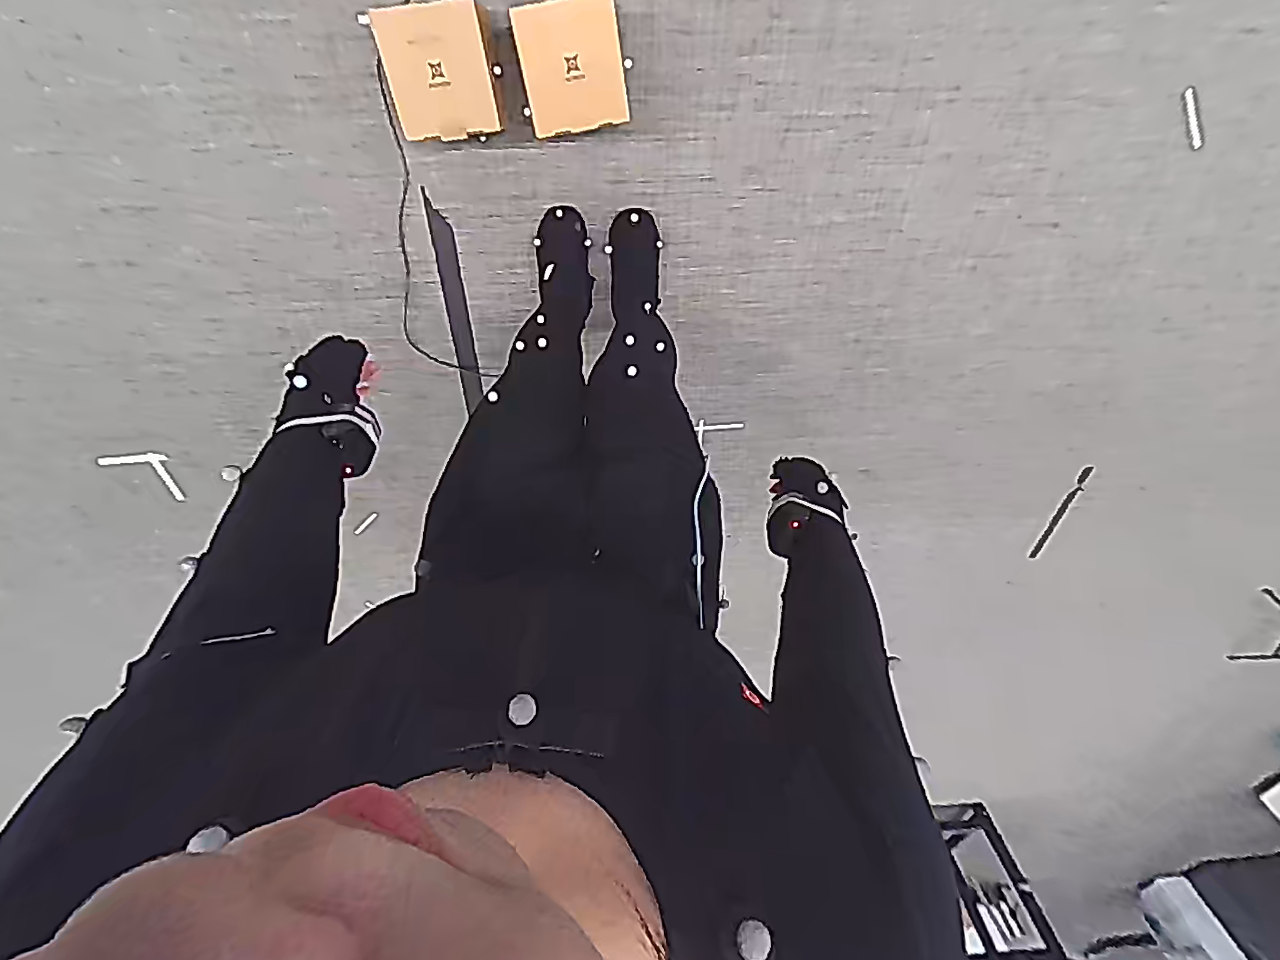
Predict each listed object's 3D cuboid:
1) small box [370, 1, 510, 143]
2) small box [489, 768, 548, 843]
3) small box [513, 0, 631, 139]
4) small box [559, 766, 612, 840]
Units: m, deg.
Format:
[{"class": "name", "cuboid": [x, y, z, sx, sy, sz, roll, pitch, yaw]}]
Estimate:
[{"class": "small box", "cuboid": [-0.330, -0.703, 0.939, 0.168, 0.176, 0.179, -7, 126, -1]}, {"class": "small box", "cuboid": [-0.406, 1.104, 1.836, 0.168, 0.176, 0.179, -1, 126, -4]}, {"class": "small box", "cuboid": [-0.114, -0.719, 0.949, 0.168, 0.176, 0.179, -10, 127, 2]}, {"class": "small box", "cuboid": [-0.185, 1.100, 1.853, 0.168, 0.176, 0.179, -5, 126, -1]}]
